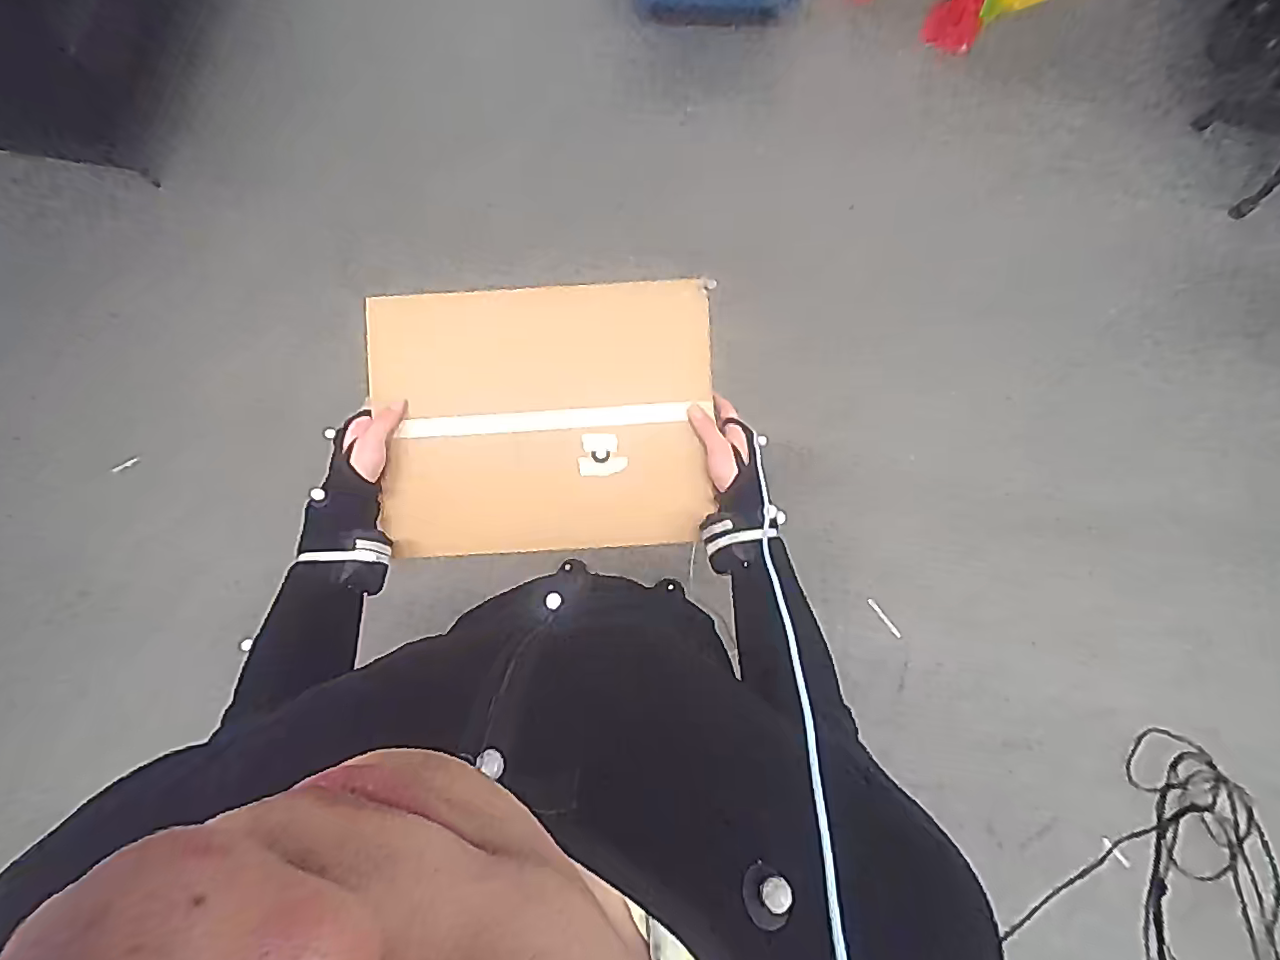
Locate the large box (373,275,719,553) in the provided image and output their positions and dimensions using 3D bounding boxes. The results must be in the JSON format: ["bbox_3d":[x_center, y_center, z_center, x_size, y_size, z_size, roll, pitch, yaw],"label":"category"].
[{"bbox_3d":[-0.116,-0.081,0.800,0.408,0.320,0.320,-4,92,-1],"label":"large box"}]
